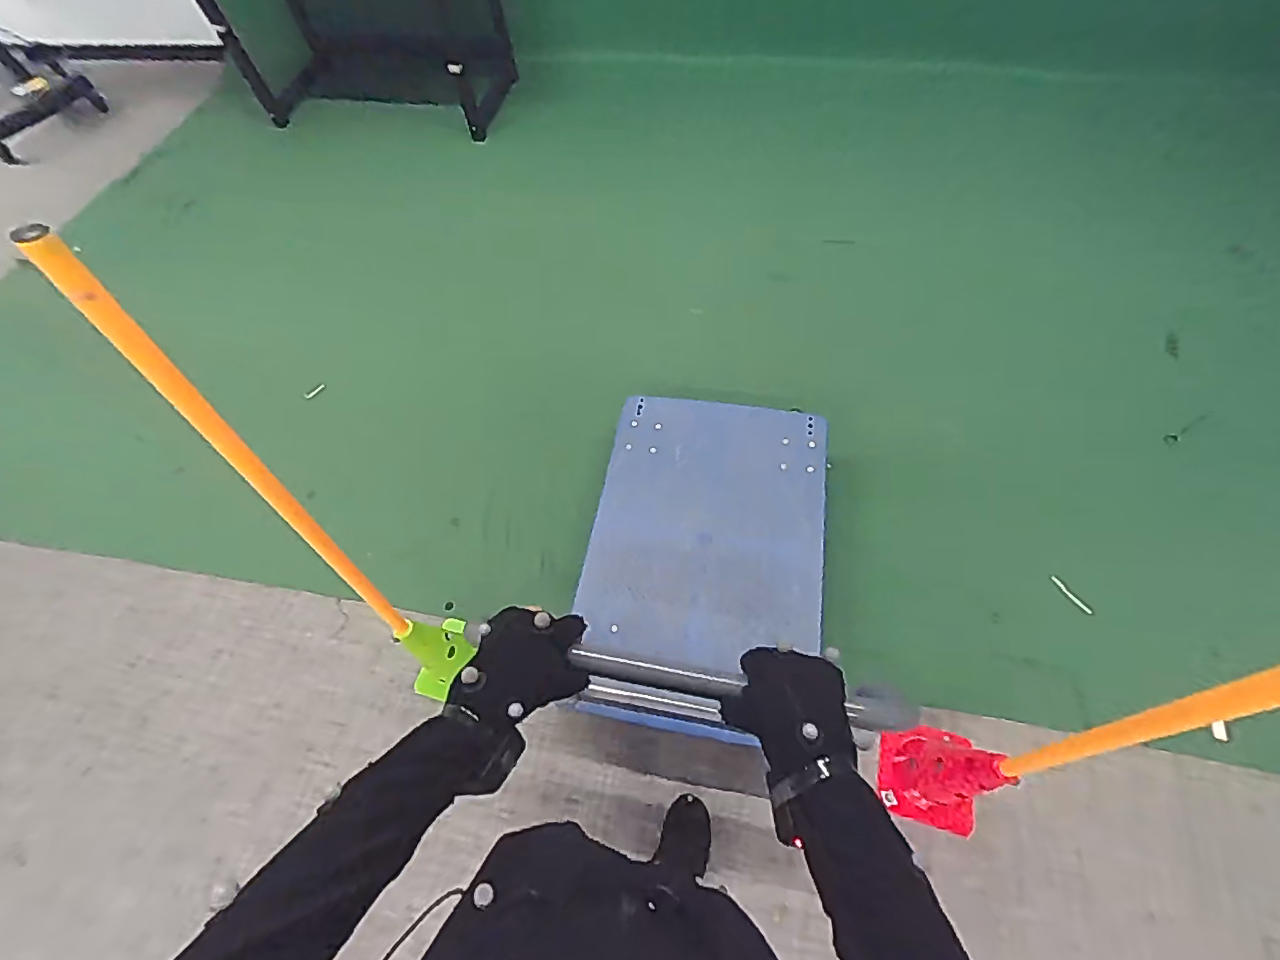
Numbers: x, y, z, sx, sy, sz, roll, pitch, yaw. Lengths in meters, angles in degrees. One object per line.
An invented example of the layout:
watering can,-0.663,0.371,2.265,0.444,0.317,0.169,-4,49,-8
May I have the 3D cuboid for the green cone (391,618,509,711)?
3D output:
green cone,-0.476,0.392,1.267,0.202,0.368,0.200,12,61,12
